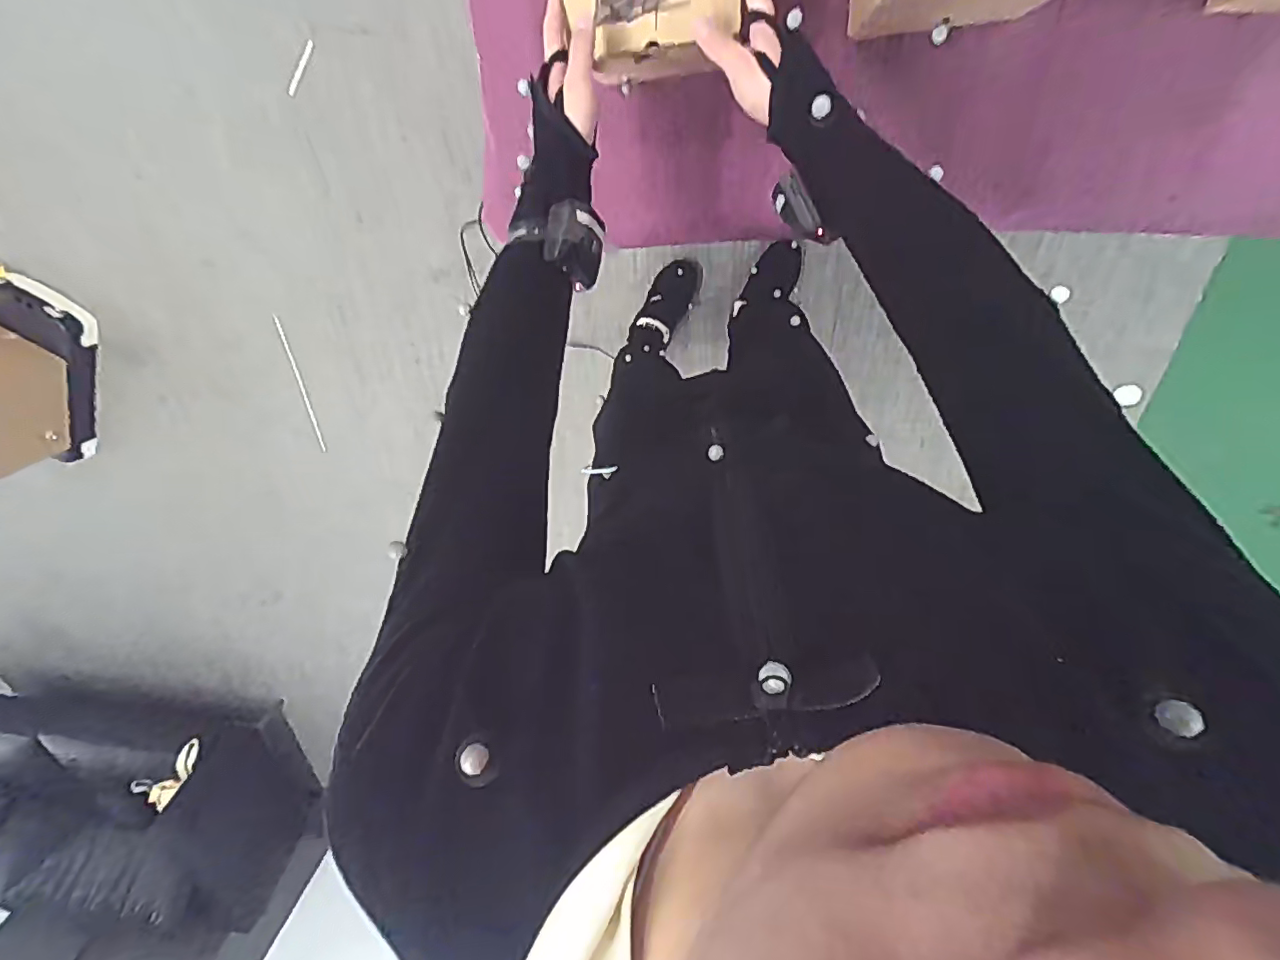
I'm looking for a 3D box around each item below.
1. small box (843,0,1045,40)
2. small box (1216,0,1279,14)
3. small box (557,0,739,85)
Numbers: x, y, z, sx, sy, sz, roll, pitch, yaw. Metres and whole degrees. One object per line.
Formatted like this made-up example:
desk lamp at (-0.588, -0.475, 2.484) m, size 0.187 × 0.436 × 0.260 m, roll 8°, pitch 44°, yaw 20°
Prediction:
small box at (0.293, -0.519, 0.481) m, size 0.179 × 0.176 × 0.168 m, roll 0°, pitch 119°, yaw 10°
small box at (0.634, -0.500, 0.425) m, size 0.168 × 0.176 × 0.179 m, roll 6°, pitch 121°, yaw 8°
small box at (0.014, -0.513, 0.537) m, size 0.168 × 0.176 × 0.179 m, roll -1°, pitch 118°, yaw 10°
